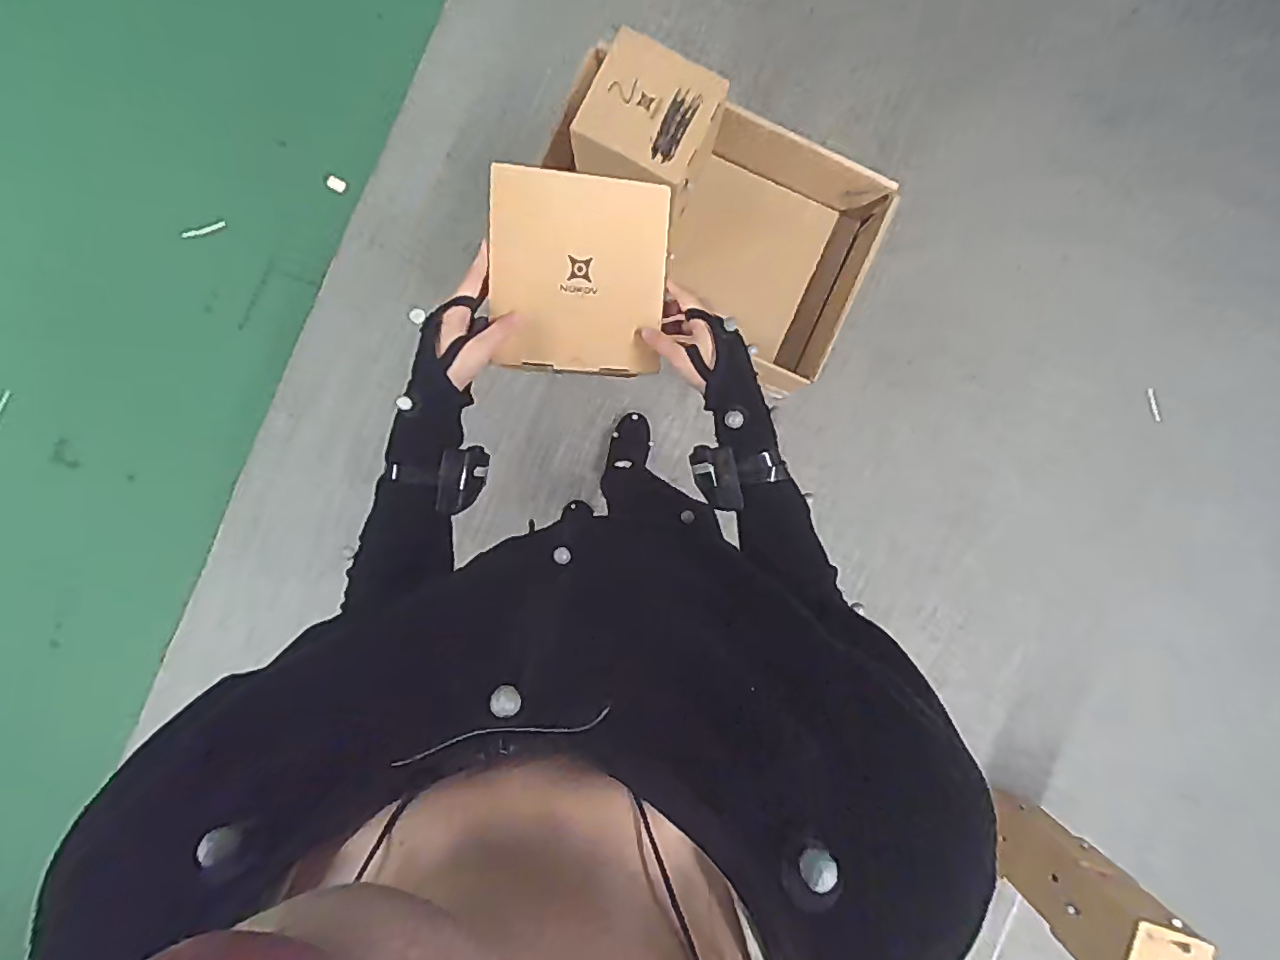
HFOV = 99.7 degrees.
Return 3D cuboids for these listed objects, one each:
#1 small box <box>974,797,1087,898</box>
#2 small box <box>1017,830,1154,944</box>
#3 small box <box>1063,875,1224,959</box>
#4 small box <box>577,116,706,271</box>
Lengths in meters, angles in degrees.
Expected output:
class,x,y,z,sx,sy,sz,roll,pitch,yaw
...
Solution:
class,x,y,z,sx,sy,sz,roll,pitch,yaw
small box,1.053,1.007,1.469,0.168,0.176,0.179,22,90,-1
small box,1.062,0.998,1.305,0.168,0.176,0.179,22,89,0
small box,1.050,0.996,1.141,0.168,0.176,0.179,20,90,-1
small box,0.001,-0.515,1.006,0.179,0.176,0.168,26,90,-2
